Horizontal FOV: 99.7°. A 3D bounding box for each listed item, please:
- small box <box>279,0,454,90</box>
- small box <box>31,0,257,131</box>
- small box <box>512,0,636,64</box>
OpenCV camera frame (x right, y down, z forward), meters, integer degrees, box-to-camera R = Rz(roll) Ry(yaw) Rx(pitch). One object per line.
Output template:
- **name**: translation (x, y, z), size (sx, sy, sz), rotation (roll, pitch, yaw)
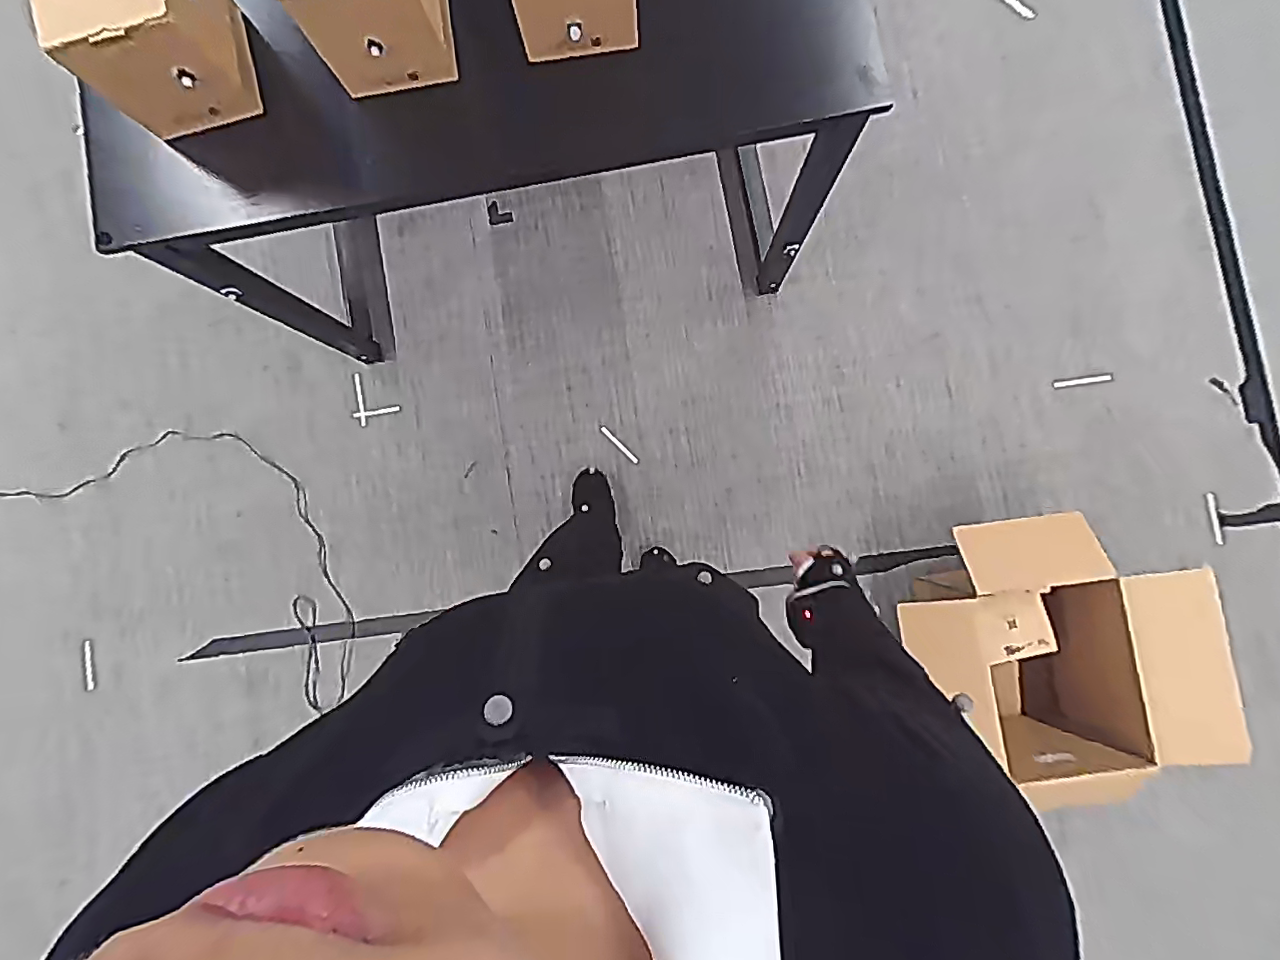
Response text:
- **small box**: translation (-0.368, -0.672, 0.735), size (0.168, 0.176, 0.179), rotation (-8, 87, 1)
- **small box**: translation (-0.671, -0.620, 0.745), size (0.168, 0.176, 0.179), rotation (-14, 86, 0)
- **small box**: translation (-0.096, -0.717, 0.729), size (0.168, 0.176, 0.179), rotation (-6, 87, 2)
